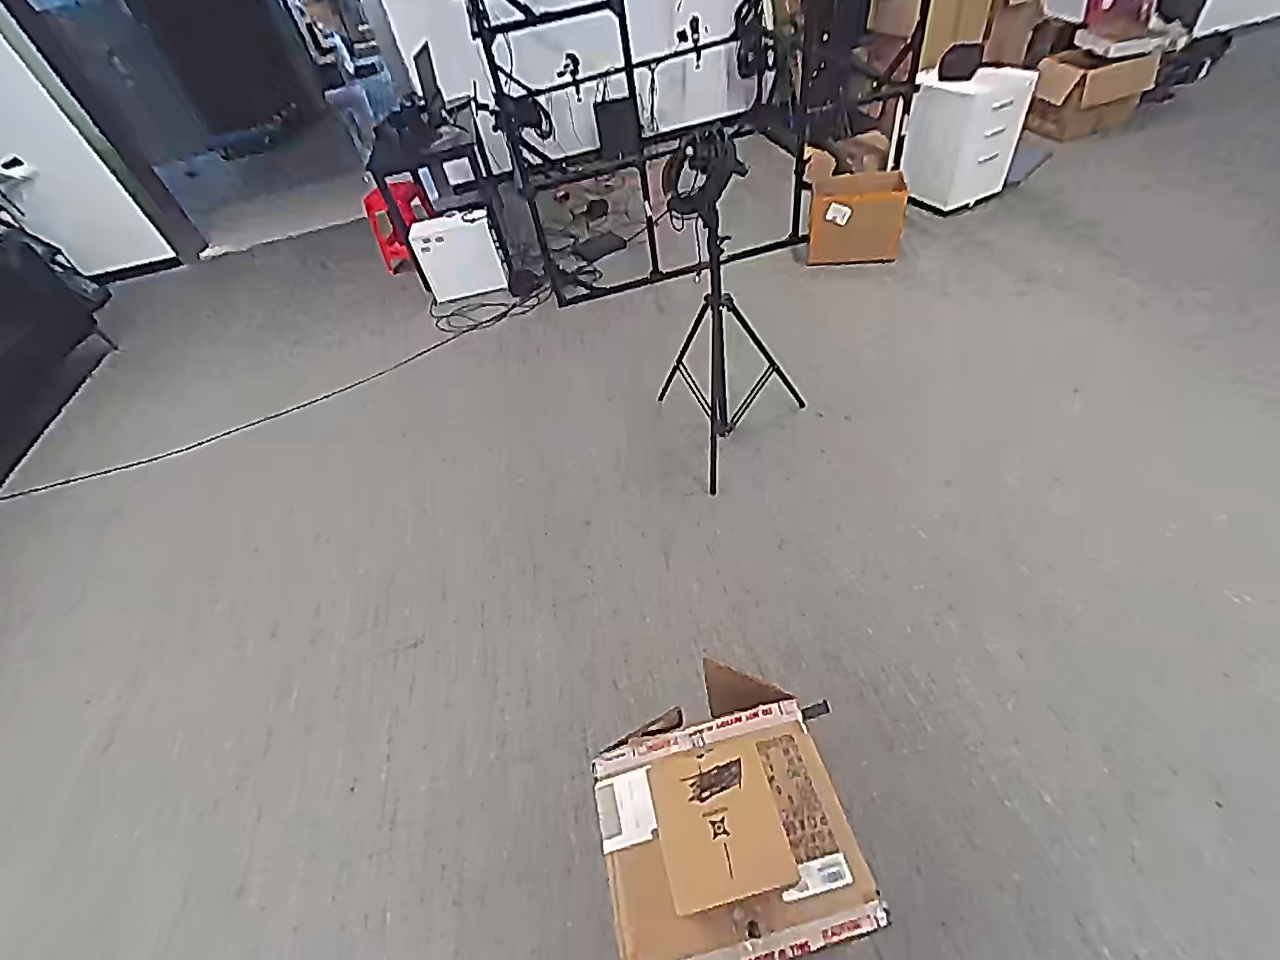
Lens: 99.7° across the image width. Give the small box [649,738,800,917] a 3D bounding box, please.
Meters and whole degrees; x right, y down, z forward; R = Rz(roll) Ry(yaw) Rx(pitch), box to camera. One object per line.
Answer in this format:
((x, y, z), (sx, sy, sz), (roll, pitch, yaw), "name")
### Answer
((0.118, 0.510, 0.792), (0.168, 0.176, 0.179), (-15, 50, -2), "small box")
